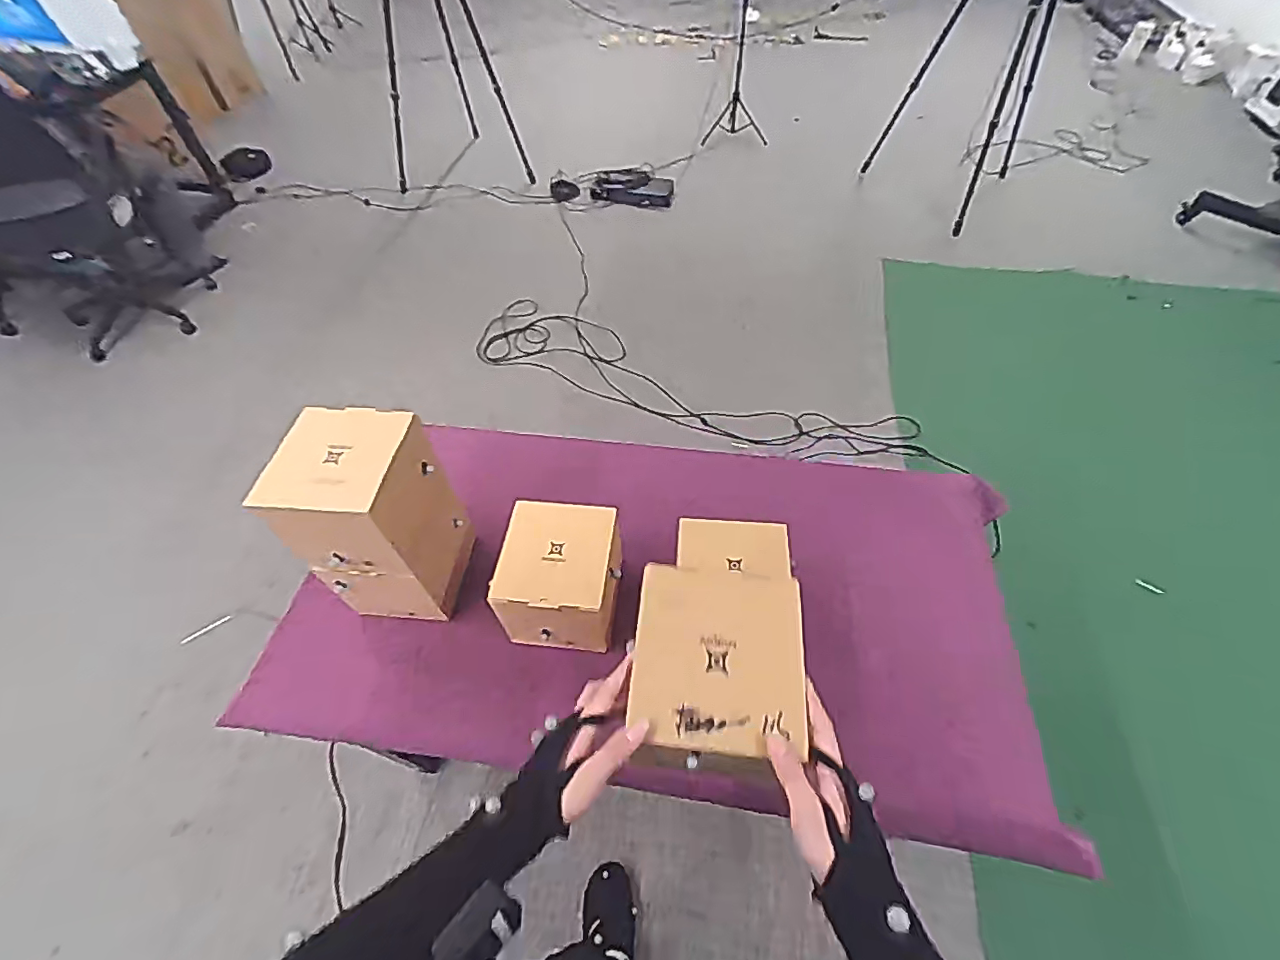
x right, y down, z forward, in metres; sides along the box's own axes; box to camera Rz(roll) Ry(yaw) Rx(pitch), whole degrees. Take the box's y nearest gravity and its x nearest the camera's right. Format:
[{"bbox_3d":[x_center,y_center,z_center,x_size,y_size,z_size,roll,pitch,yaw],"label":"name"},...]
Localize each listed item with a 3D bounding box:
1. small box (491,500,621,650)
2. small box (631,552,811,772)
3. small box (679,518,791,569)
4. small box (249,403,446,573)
[{"bbox_3d":[-0.123,0.155,0.879,0.168,0.176,0.179,5,54,5],"label":"small box"},{"bbox_3d":[0.082,0.203,0.595,0.168,0.176,0.179,6,55,5],"label":"small box"},{"bbox_3d":[0.139,0.182,0.852,0.168,0.176,0.179,4,54,4],"label":"small box"},{"bbox_3d":[-0.399,0.013,0.782,0.168,0.176,0.179,4,53,4],"label":"small box"}]
